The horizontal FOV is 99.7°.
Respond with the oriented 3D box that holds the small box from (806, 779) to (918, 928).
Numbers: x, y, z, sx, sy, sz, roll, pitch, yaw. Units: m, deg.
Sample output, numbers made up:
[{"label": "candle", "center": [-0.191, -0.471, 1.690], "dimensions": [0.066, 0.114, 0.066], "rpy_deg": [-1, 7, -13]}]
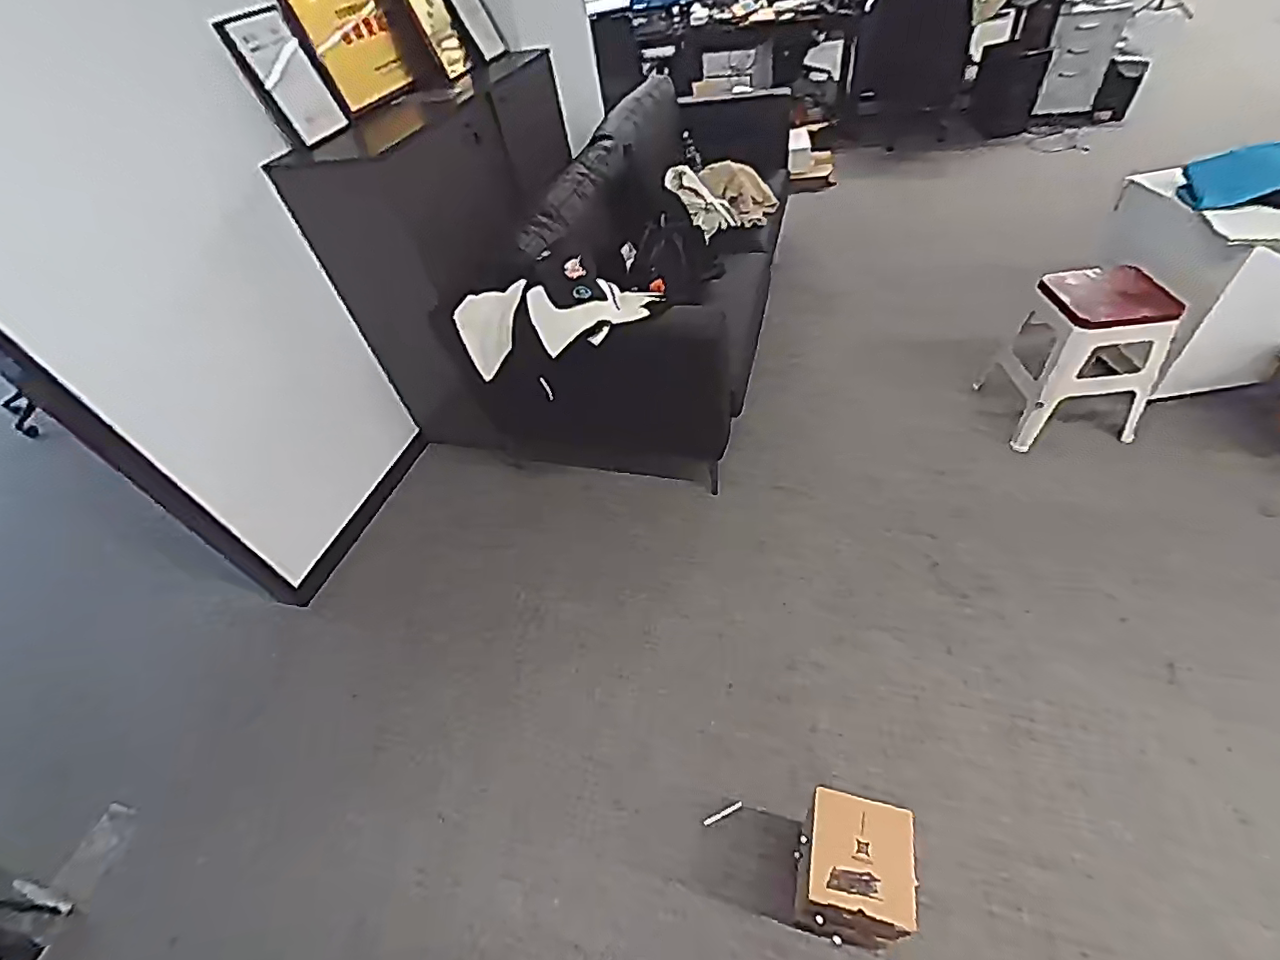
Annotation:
[{"label": "small box", "center": [0.397, 0.680, 0.981], "dimensions": [0.168, 0.176, 0.179], "rpy_deg": [6, 49, 17]}]
